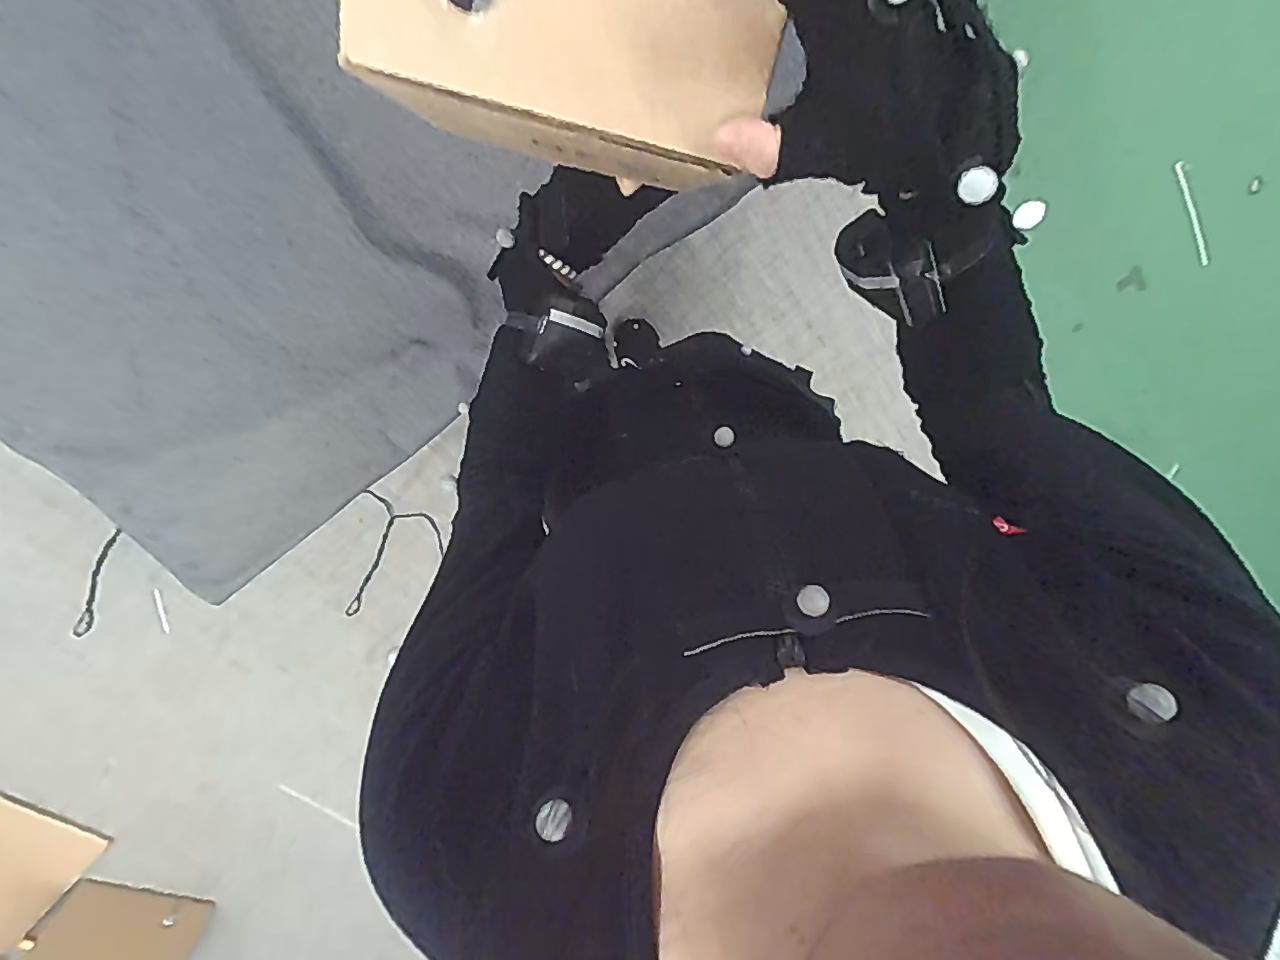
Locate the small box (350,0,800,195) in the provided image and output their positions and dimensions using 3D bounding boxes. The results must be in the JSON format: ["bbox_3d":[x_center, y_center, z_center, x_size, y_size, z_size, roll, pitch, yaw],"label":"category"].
[{"bbox_3d":[-0.023,-0.257,0.268,0.179,0.168,0.176,8,115,-10],"label":"small box"}]
